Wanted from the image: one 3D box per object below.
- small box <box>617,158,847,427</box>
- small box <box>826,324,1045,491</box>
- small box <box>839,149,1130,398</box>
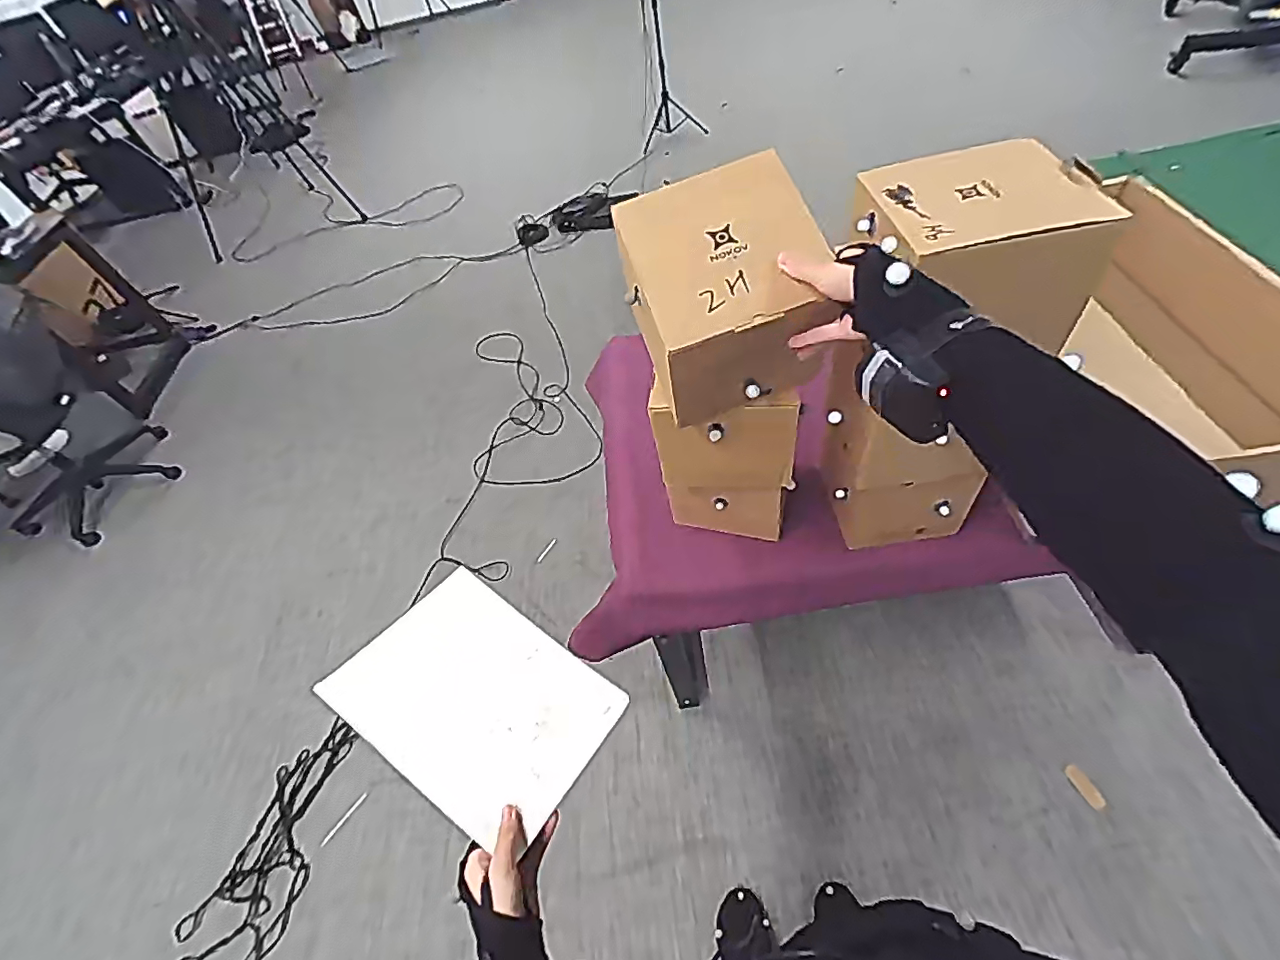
[{"bbox_3d":[0.086,-0.183,0.567,0.168,0.176,0.179,-19,70,1],"label":"small box"},{"bbox_3d":[0.351,-0.106,0.685,0.179,0.176,0.168,-9,50,6],"label":"small box"},{"bbox_3d":[0.324,-0.207,0.558,0.179,0.176,0.168,-8,50,4],"label":"small box"}]
